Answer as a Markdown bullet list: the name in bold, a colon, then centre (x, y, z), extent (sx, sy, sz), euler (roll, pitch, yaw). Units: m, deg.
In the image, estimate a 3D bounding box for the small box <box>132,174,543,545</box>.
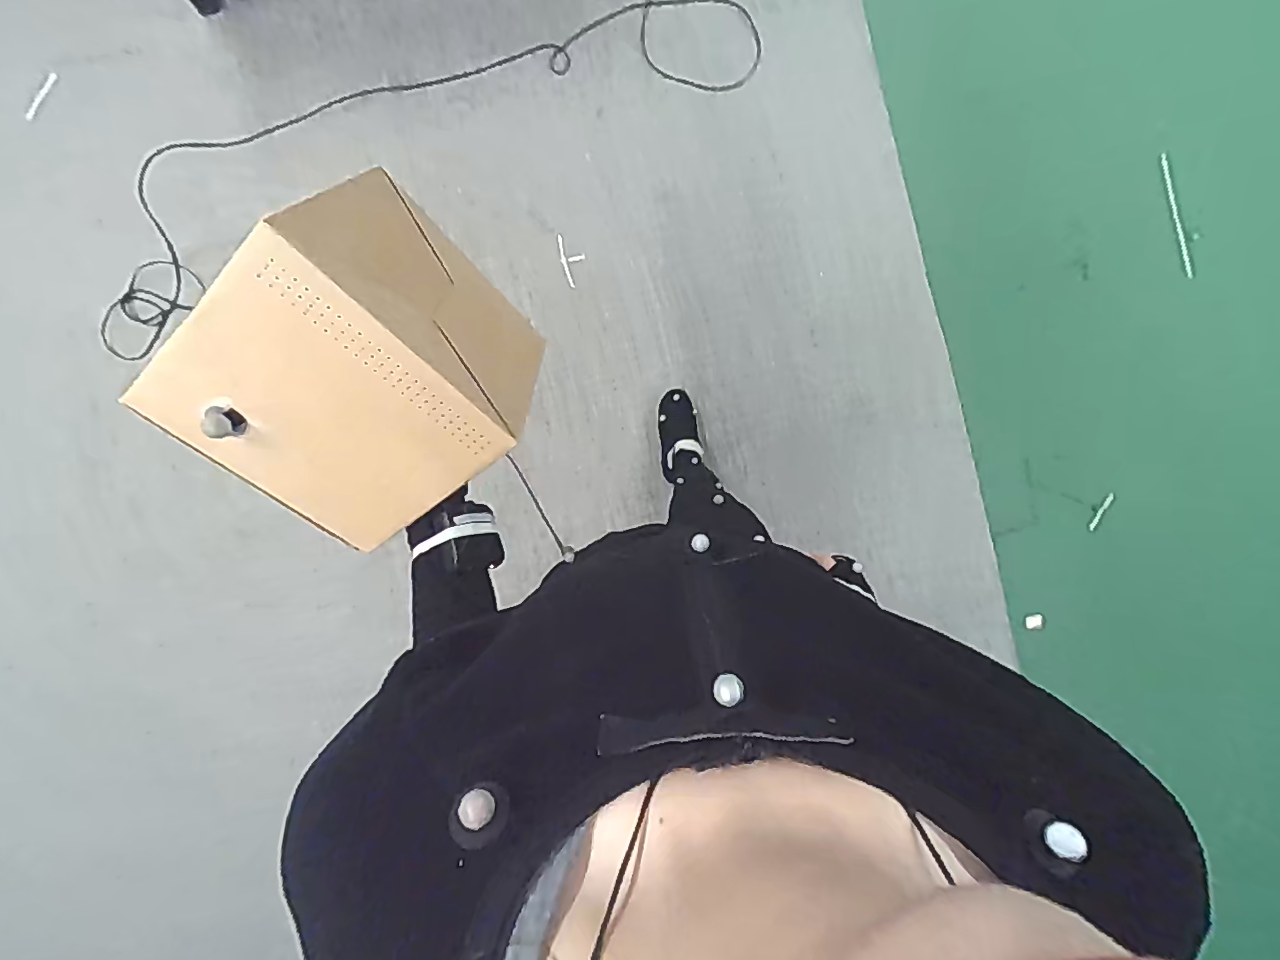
- **small box**: centre (-0.198, -0.090, 0.405), extent (0.176, 0.168, 0.179), euler (-32, 123, 22)
